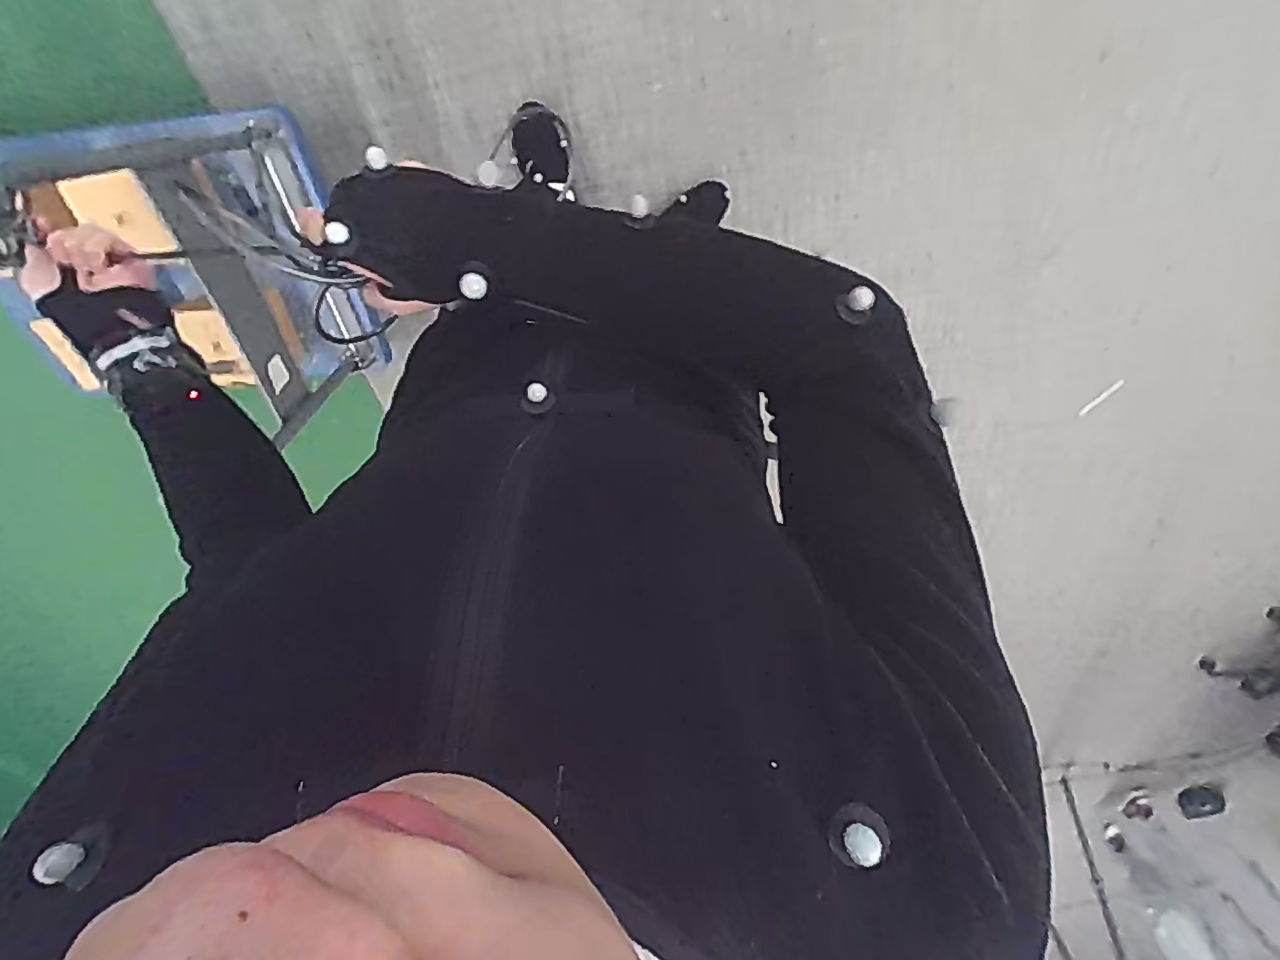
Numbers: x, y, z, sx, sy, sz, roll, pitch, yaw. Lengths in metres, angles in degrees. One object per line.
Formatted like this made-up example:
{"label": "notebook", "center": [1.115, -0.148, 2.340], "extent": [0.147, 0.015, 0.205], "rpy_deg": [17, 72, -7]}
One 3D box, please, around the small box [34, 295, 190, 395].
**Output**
{"label": "small box", "center": [-1.223, -0.323, 1.278], "extent": [0.179, 0.176, 0.168], "rpy_deg": [-7, 126, 5]}

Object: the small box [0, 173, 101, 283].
{"label": "small box", "center": [-1.250, -0.526, 1.124], "extent": [0.179, 0.176, 0.168], "rpy_deg": [-7, 127, 3]}

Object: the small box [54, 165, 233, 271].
{"label": "small box", "center": [-1.005, -0.542, 1.115], "extent": [0.179, 0.176, 0.168], "rpy_deg": [-4, 127, 2]}
